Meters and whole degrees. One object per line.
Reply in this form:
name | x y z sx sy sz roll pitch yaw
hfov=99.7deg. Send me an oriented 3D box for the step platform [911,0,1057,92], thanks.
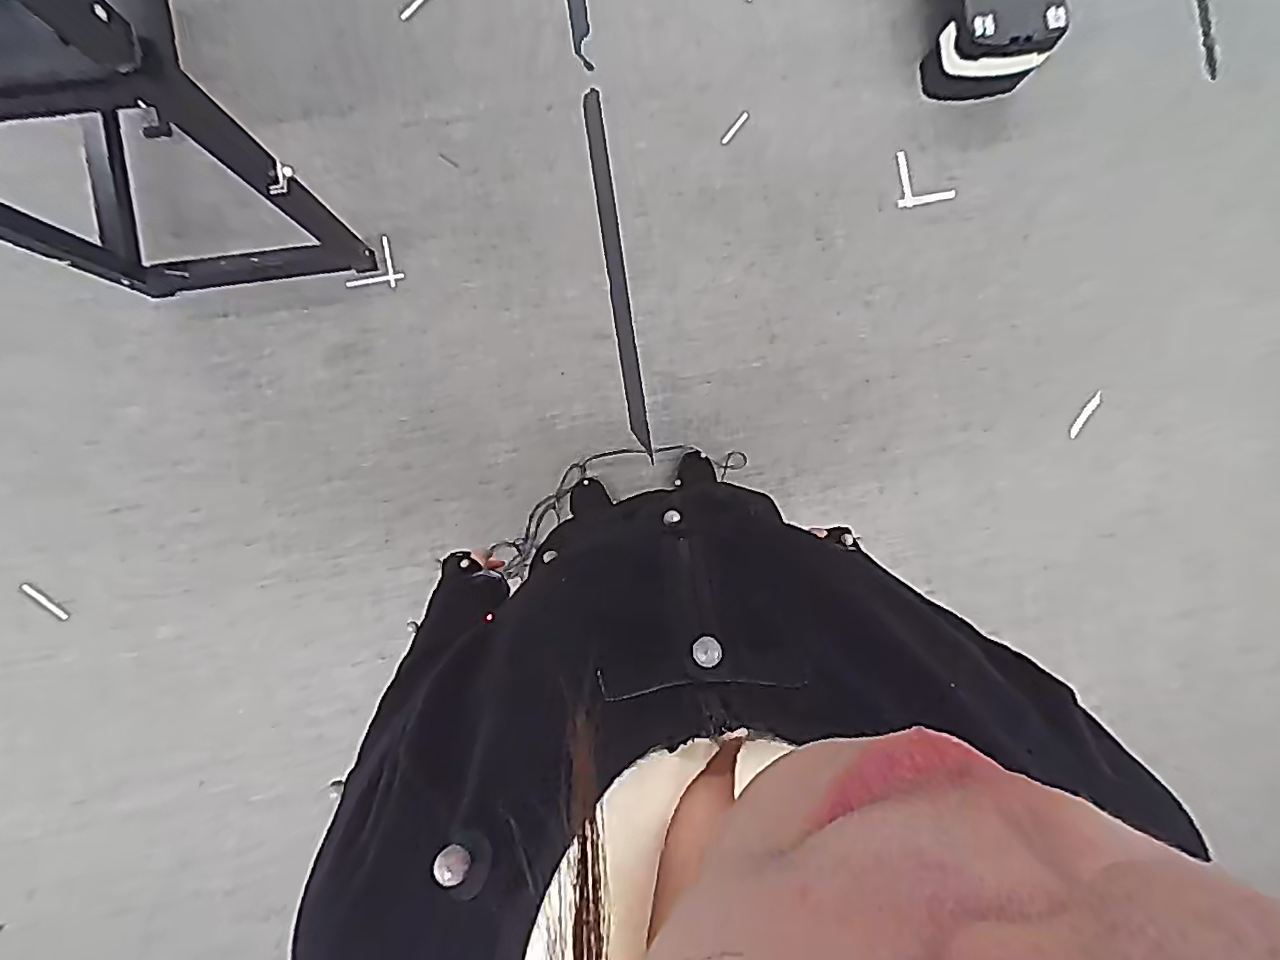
step platform | 0.902 -1.447 1.445 0.286 0.204 0.684 -3 90 -4
